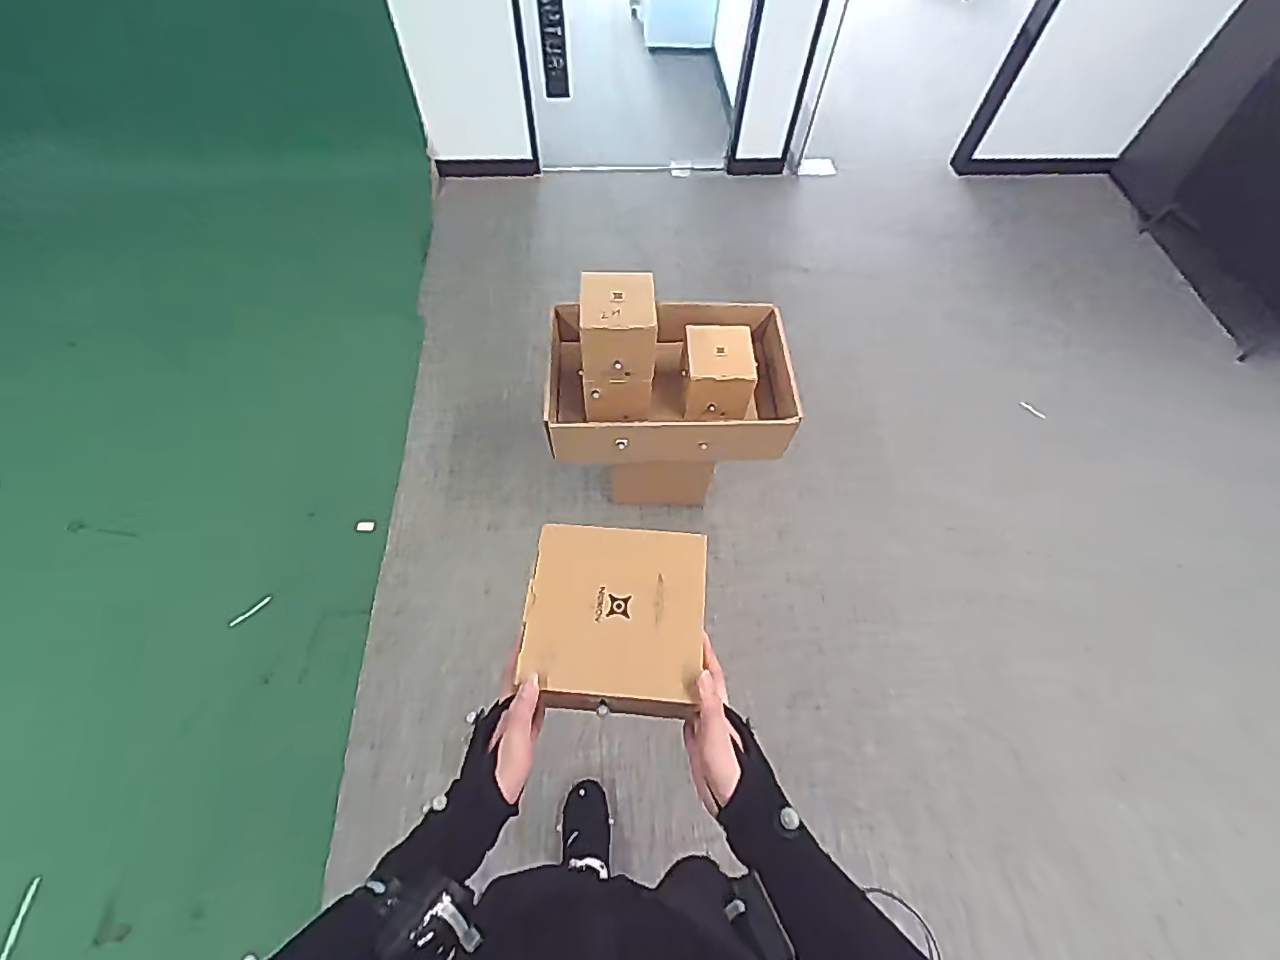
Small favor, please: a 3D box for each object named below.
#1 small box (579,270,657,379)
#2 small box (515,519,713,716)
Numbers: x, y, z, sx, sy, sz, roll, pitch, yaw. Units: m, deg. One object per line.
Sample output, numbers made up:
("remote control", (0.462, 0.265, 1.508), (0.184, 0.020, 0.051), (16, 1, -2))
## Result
("small box", (-0.053, -0.355, 1.242), (0.168, 0.176, 0.179), (-1, 60, -4))
("small box", (-0.018, 0.157, 0.591), (0.179, 0.176, 0.168), (5, 62, 3))
